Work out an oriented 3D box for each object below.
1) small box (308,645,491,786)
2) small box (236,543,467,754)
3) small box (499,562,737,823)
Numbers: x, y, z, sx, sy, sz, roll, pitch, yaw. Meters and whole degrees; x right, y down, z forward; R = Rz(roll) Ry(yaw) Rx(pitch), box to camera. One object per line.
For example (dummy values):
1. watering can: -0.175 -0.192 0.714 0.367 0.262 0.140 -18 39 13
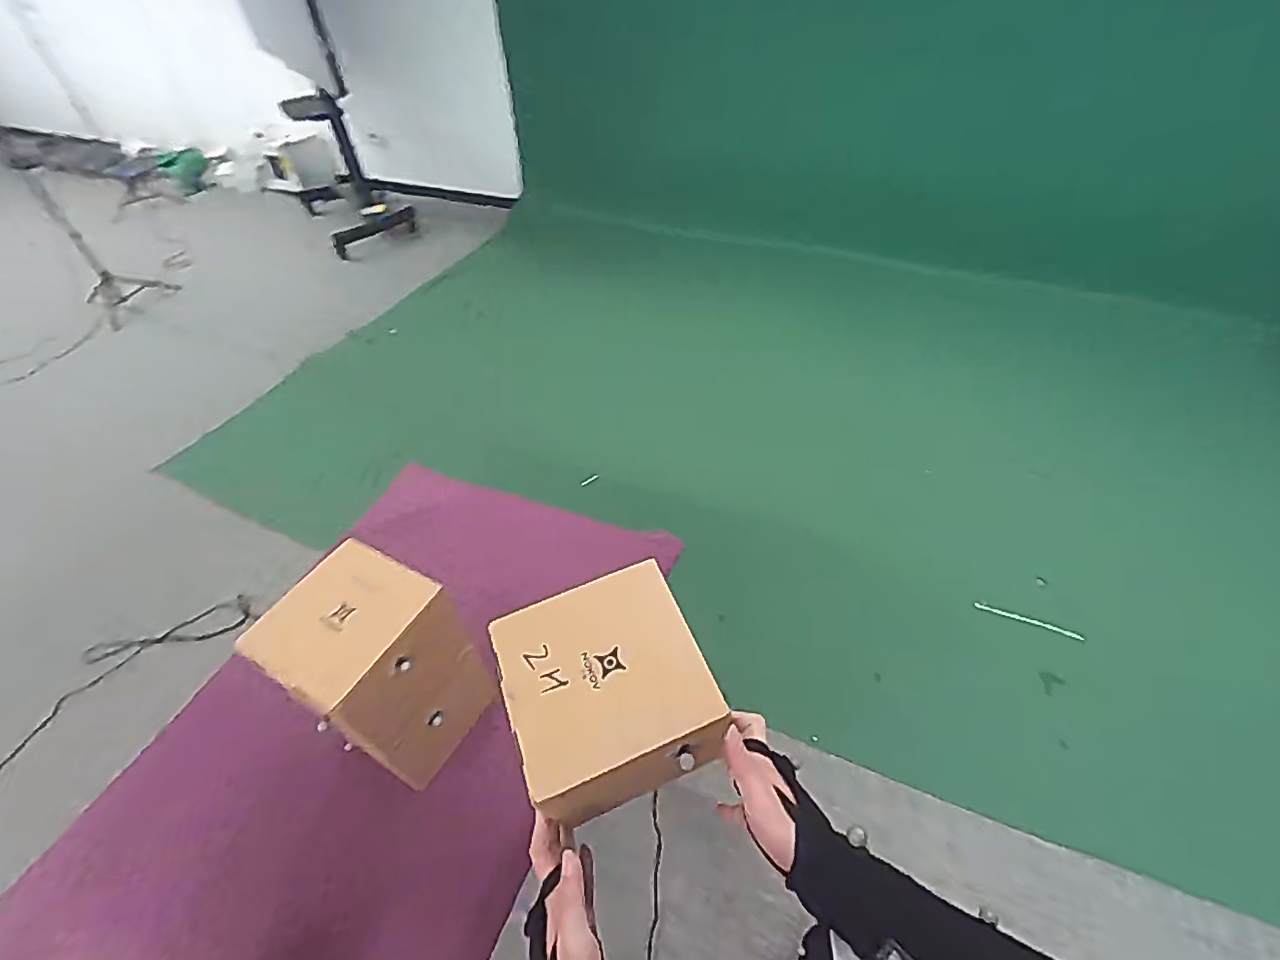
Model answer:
1. small box: -0.353 0.329 0.824 0.168 0.176 0.179 22 51 20
2. small box: -0.354 0.220 0.703 0.168 0.176 0.179 21 51 19
3. small box: -0.022 0.216 0.544 0.179 0.176 0.168 -19 52 -10
